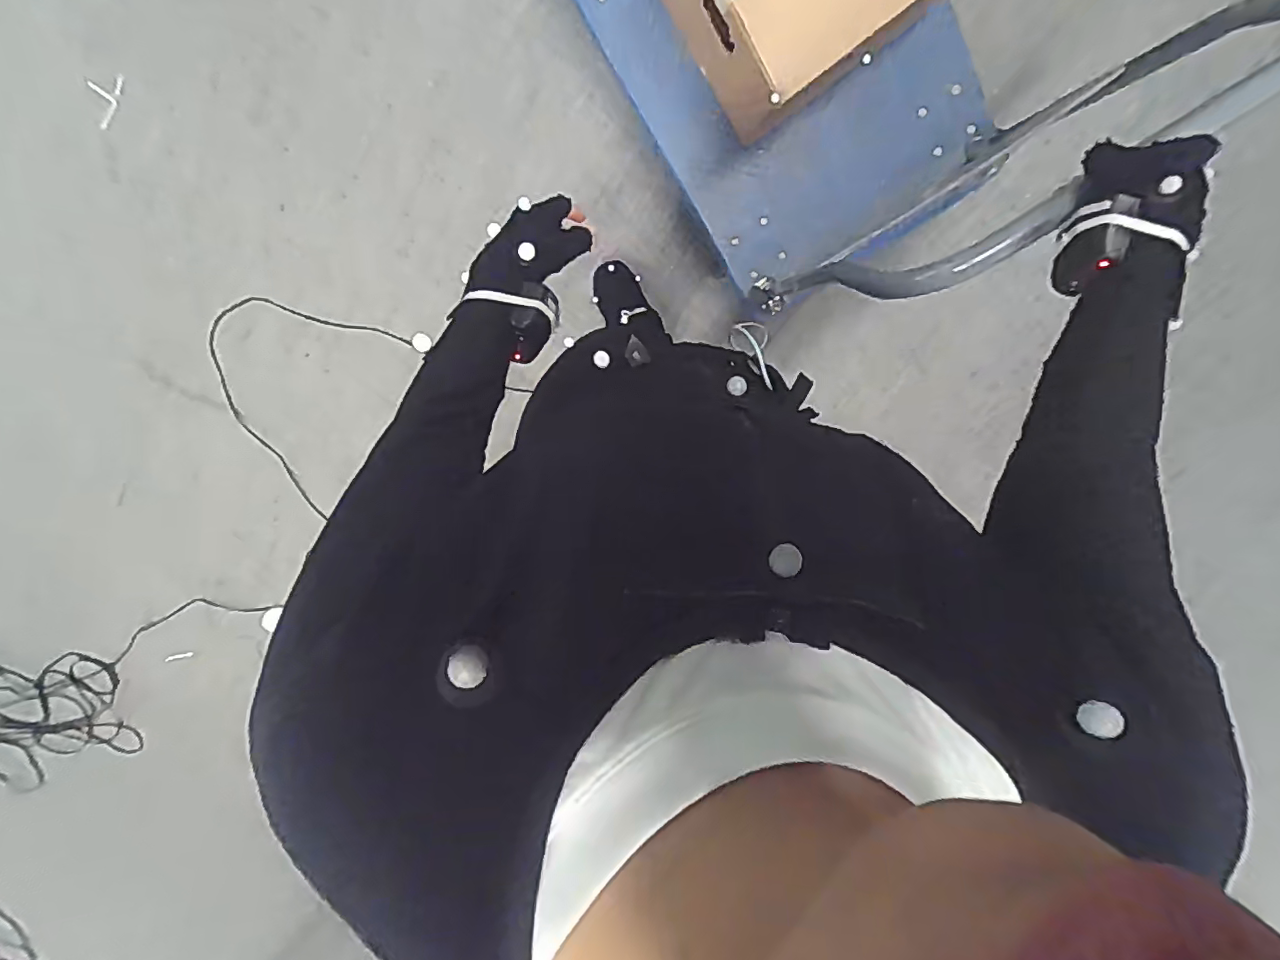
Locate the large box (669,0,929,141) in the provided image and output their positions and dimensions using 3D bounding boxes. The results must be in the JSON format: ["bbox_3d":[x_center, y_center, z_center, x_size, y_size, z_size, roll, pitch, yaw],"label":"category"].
[{"bbox_3d":[0.289,-0.842,0.863,0.408,0.320,0.320,-33,106,14],"label":"large box"}]
